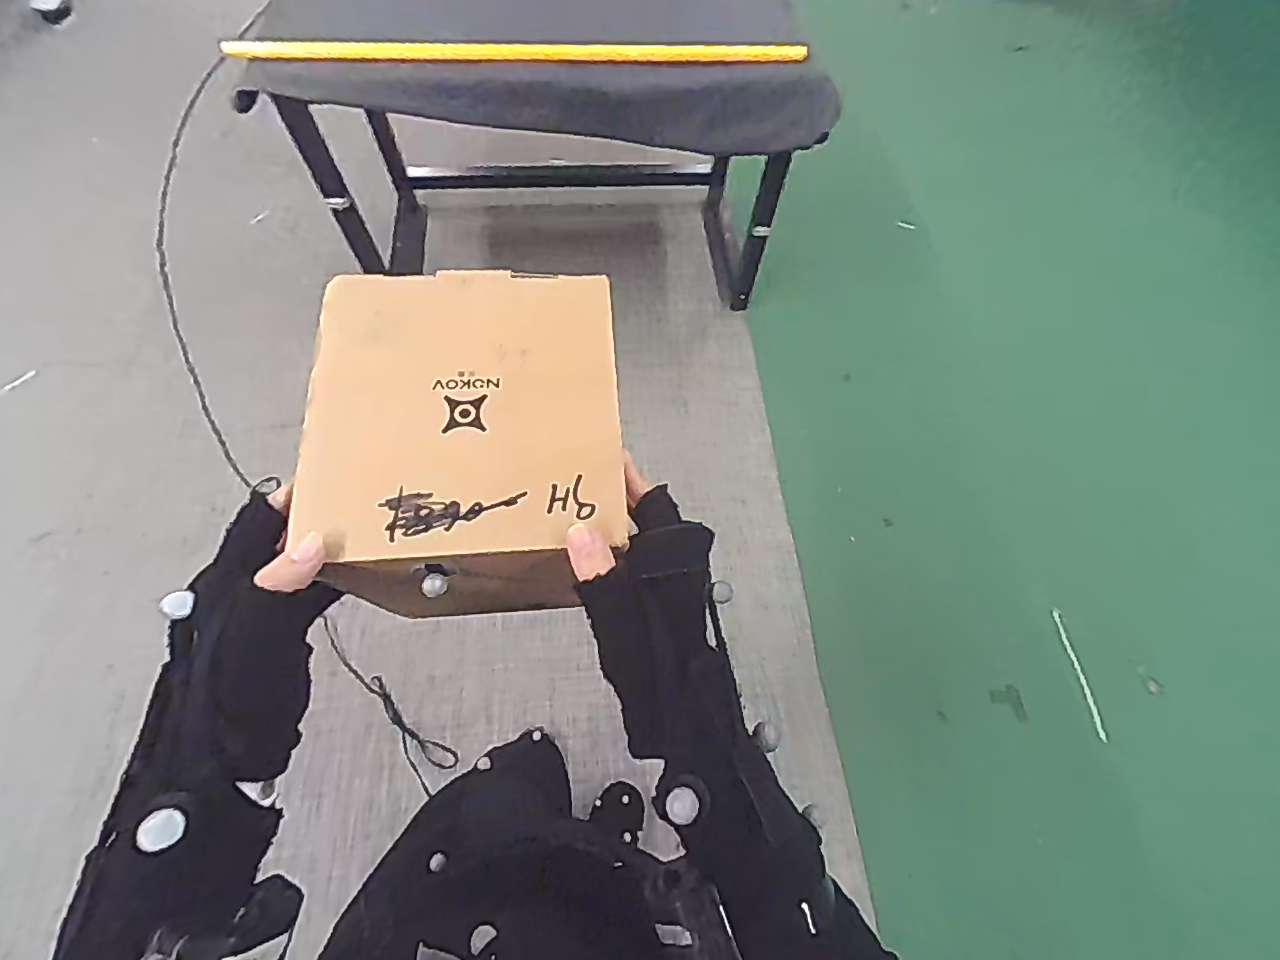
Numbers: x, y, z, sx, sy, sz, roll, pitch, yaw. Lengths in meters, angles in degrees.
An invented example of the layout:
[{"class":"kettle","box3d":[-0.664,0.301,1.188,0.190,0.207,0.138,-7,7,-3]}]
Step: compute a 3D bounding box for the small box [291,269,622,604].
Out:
[{"class":"small box","box3d":[-0.103,-0.020,0.378,0.168,0.176,0.179,-3,67,-5]}]
